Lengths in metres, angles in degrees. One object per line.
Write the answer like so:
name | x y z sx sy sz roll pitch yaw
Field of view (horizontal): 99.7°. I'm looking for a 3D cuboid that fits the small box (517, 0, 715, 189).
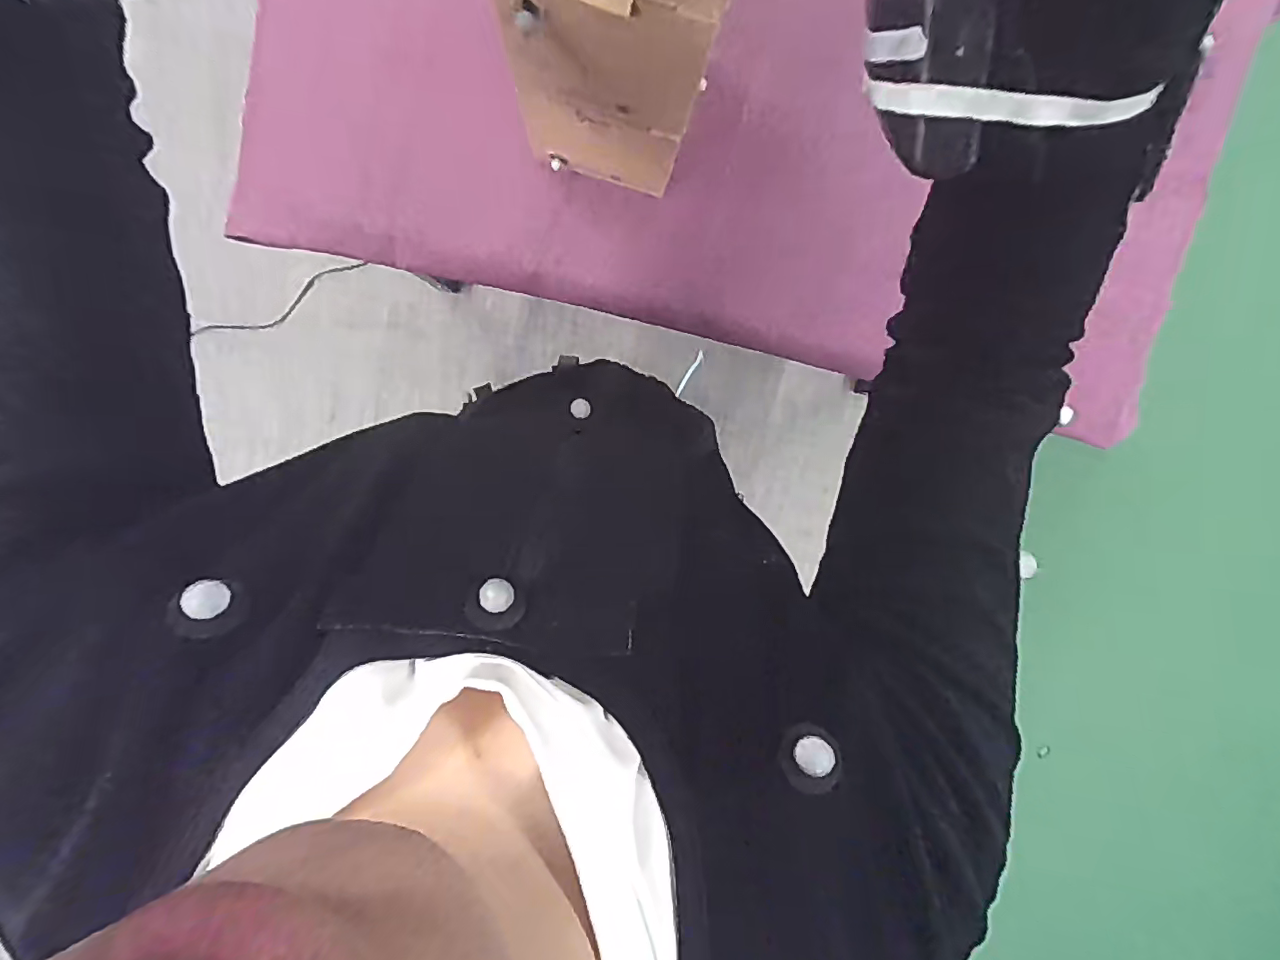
small box | -0.023 -0.449 0.585 0.168 0.176 0.179 14 98 -7
